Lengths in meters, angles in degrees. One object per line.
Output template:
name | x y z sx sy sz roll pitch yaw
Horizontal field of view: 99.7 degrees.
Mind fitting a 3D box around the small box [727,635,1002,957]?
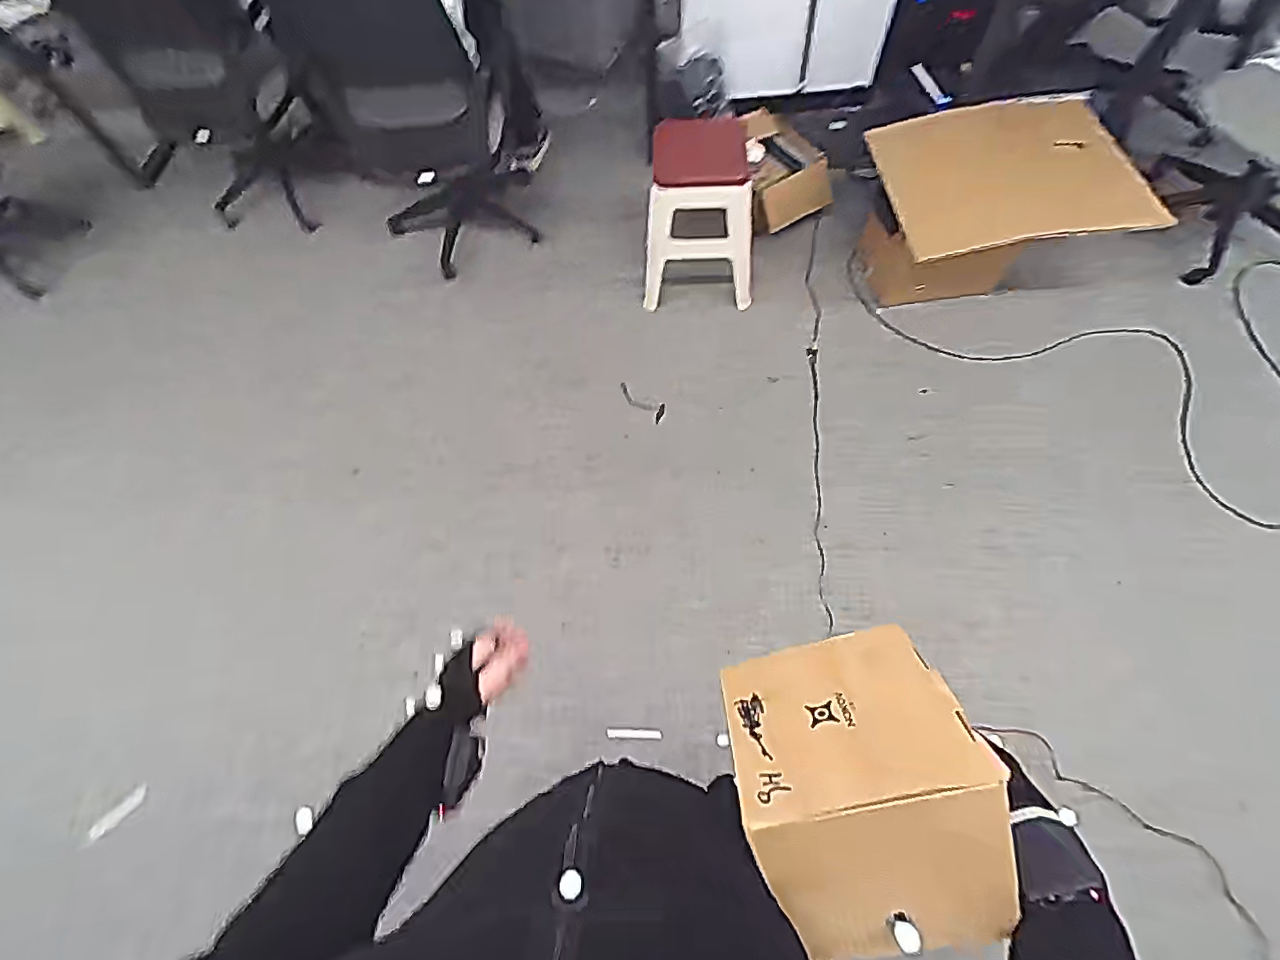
small box | 0.190 0.273 0.481 0.179 0.176 0.168 -17 19 8
